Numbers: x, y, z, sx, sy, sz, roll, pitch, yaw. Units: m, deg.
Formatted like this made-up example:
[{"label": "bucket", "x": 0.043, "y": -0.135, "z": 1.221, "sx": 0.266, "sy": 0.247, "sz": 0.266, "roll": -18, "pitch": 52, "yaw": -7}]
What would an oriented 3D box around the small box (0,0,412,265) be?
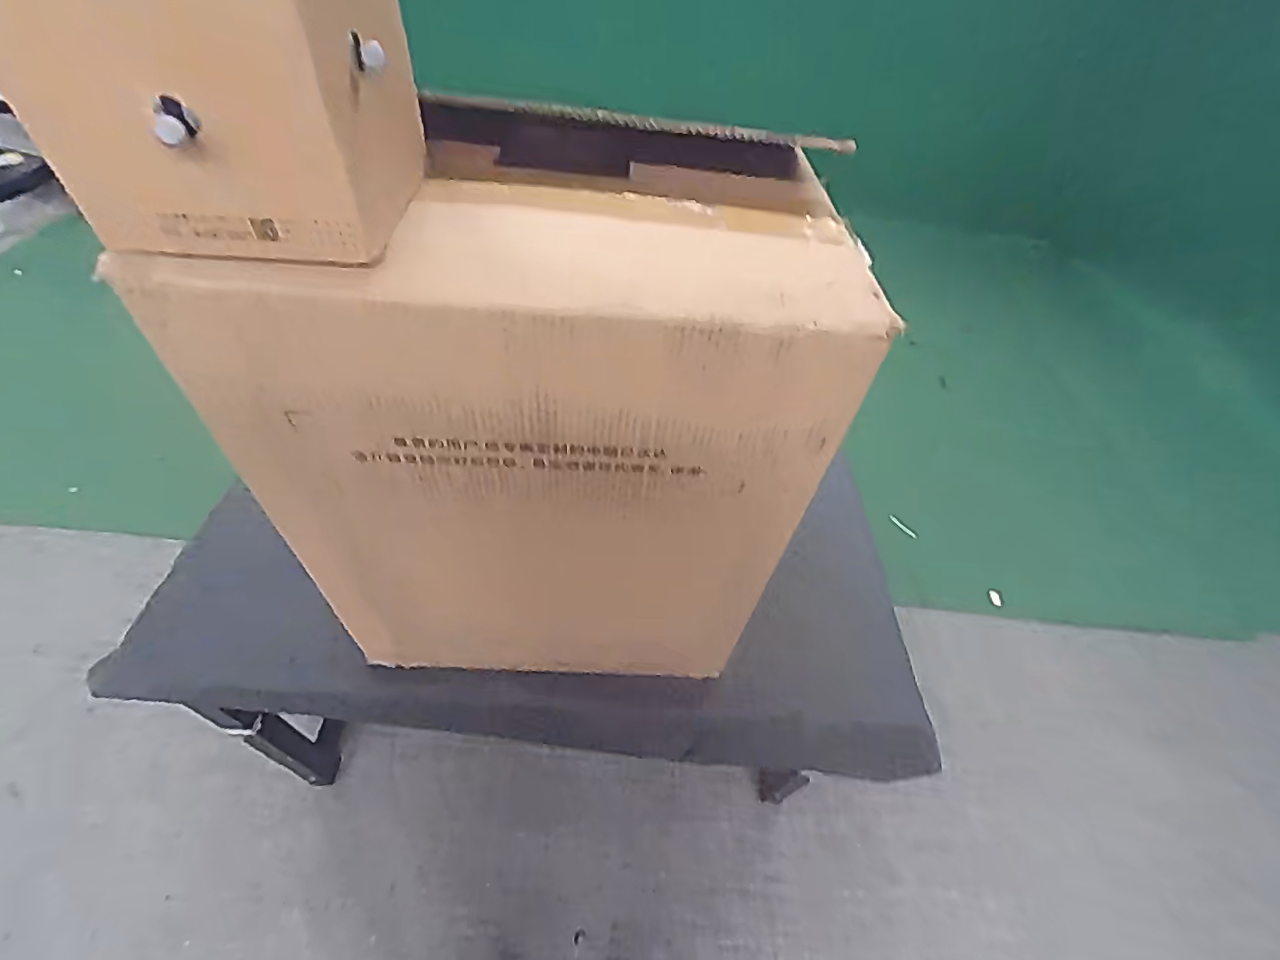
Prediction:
[{"label": "small box", "x": -0.261, "y": -0.254, "z": 0.340, "sx": 0.168, "sy": 0.176, "sz": 0.179, "roll": 1, "pitch": 50, "yaw": -4}]
